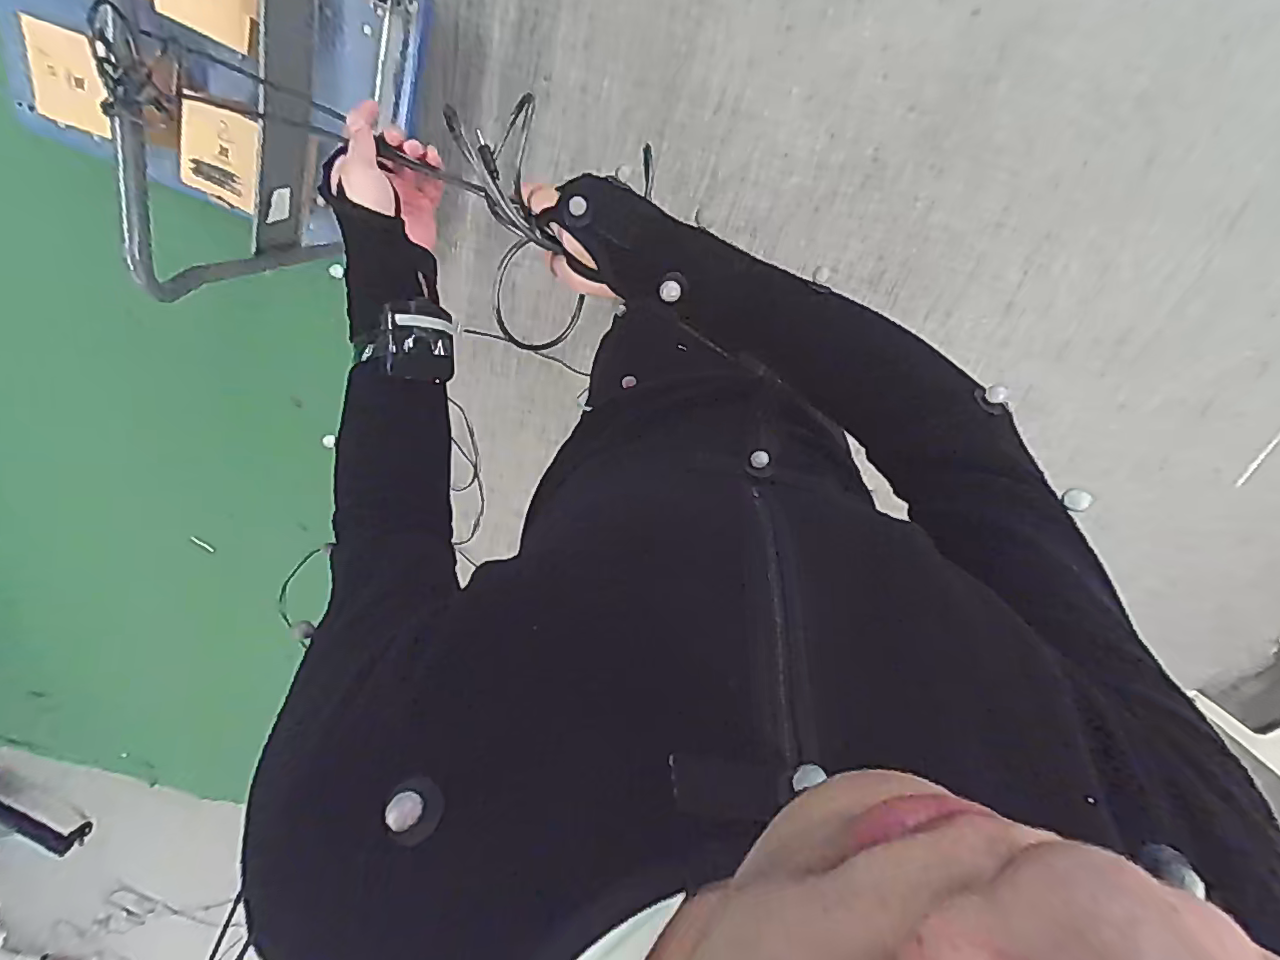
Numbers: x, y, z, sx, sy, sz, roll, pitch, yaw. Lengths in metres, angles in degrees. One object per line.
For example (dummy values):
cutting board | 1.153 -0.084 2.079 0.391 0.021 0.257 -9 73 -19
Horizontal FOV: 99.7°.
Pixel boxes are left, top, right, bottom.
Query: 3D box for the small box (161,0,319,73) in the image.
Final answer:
small box | -0.754 -0.912 1.028 0.179 0.176 0.168 23 118 -7

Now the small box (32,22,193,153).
small box | -1.072 -0.798 1.121 0.179 0.176 0.168 19 117 -4
